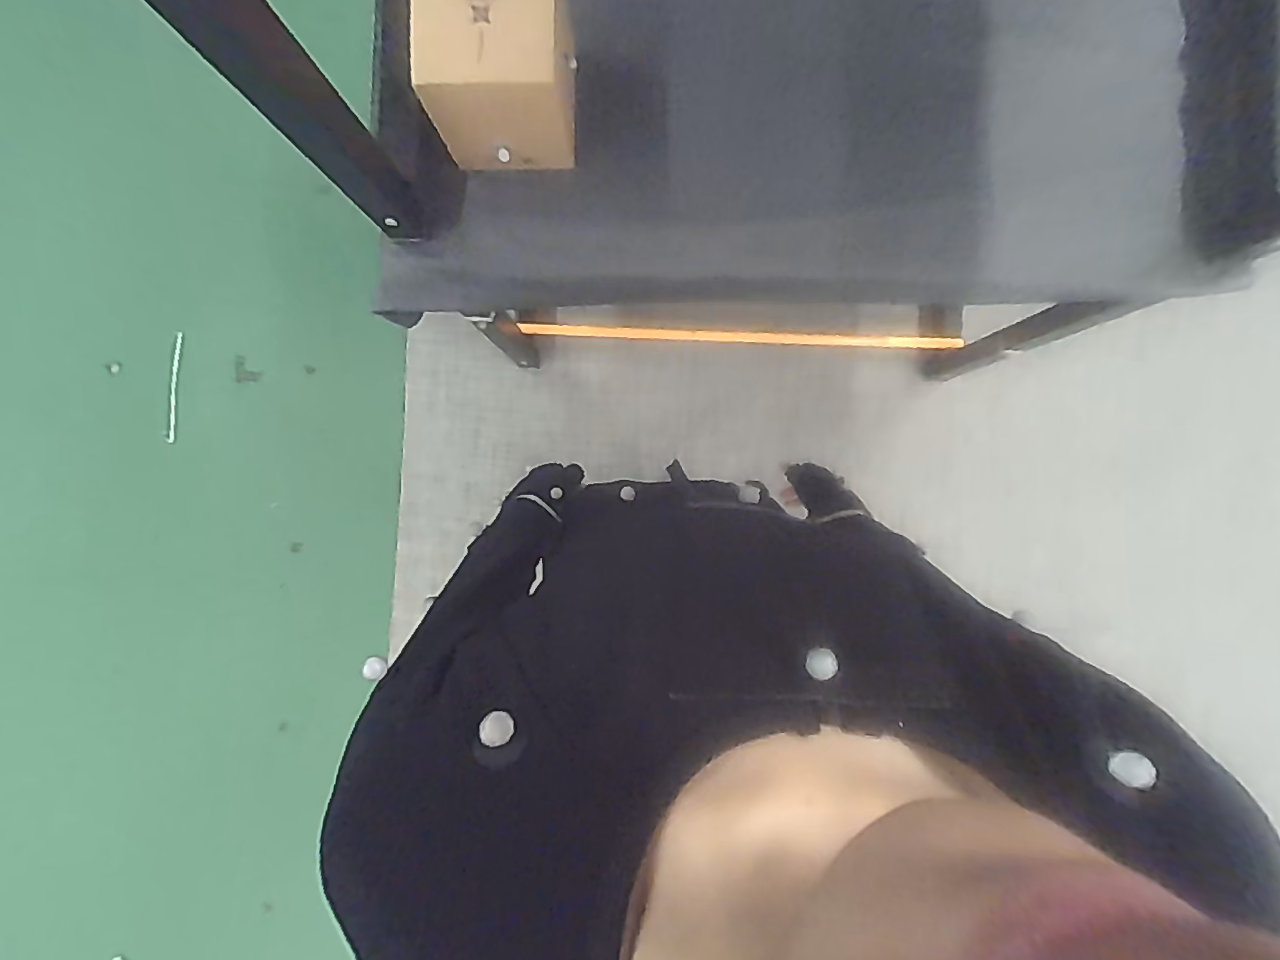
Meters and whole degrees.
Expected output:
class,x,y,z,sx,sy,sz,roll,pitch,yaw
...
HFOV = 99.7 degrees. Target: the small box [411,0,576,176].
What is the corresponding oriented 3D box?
class,x,y,z,sx,sy,sz,roll,pitch,yaw
small box,-0.175,-0.524,0.691,0.168,0.176,0.179,0,89,1
